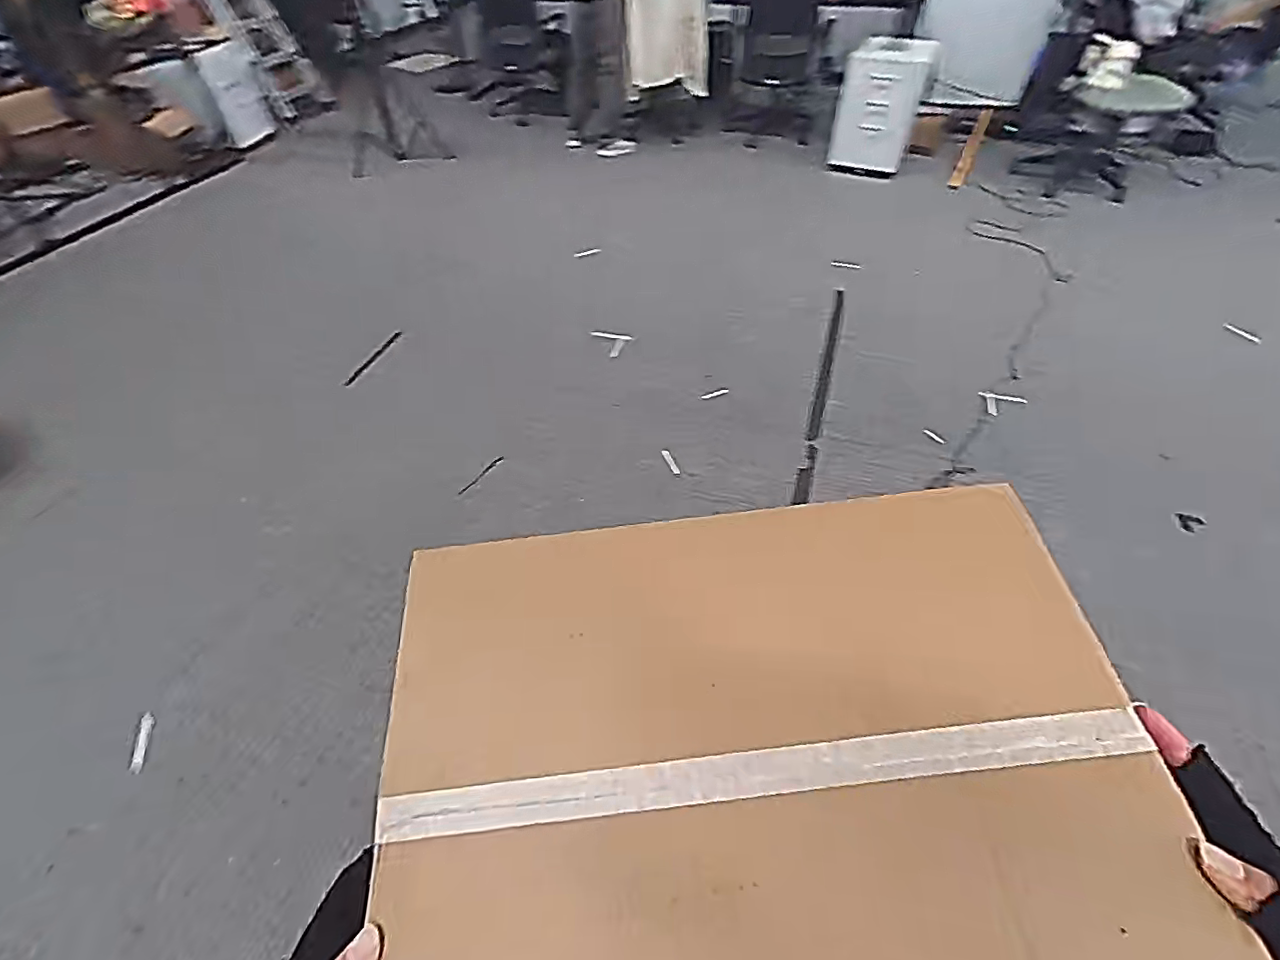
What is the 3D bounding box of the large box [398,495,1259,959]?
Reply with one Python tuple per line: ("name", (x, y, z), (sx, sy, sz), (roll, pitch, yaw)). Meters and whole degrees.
("large box", (0.082, 0.240, 0.420), (0.408, 0.320, 0.320), (-6, 58, 1))
